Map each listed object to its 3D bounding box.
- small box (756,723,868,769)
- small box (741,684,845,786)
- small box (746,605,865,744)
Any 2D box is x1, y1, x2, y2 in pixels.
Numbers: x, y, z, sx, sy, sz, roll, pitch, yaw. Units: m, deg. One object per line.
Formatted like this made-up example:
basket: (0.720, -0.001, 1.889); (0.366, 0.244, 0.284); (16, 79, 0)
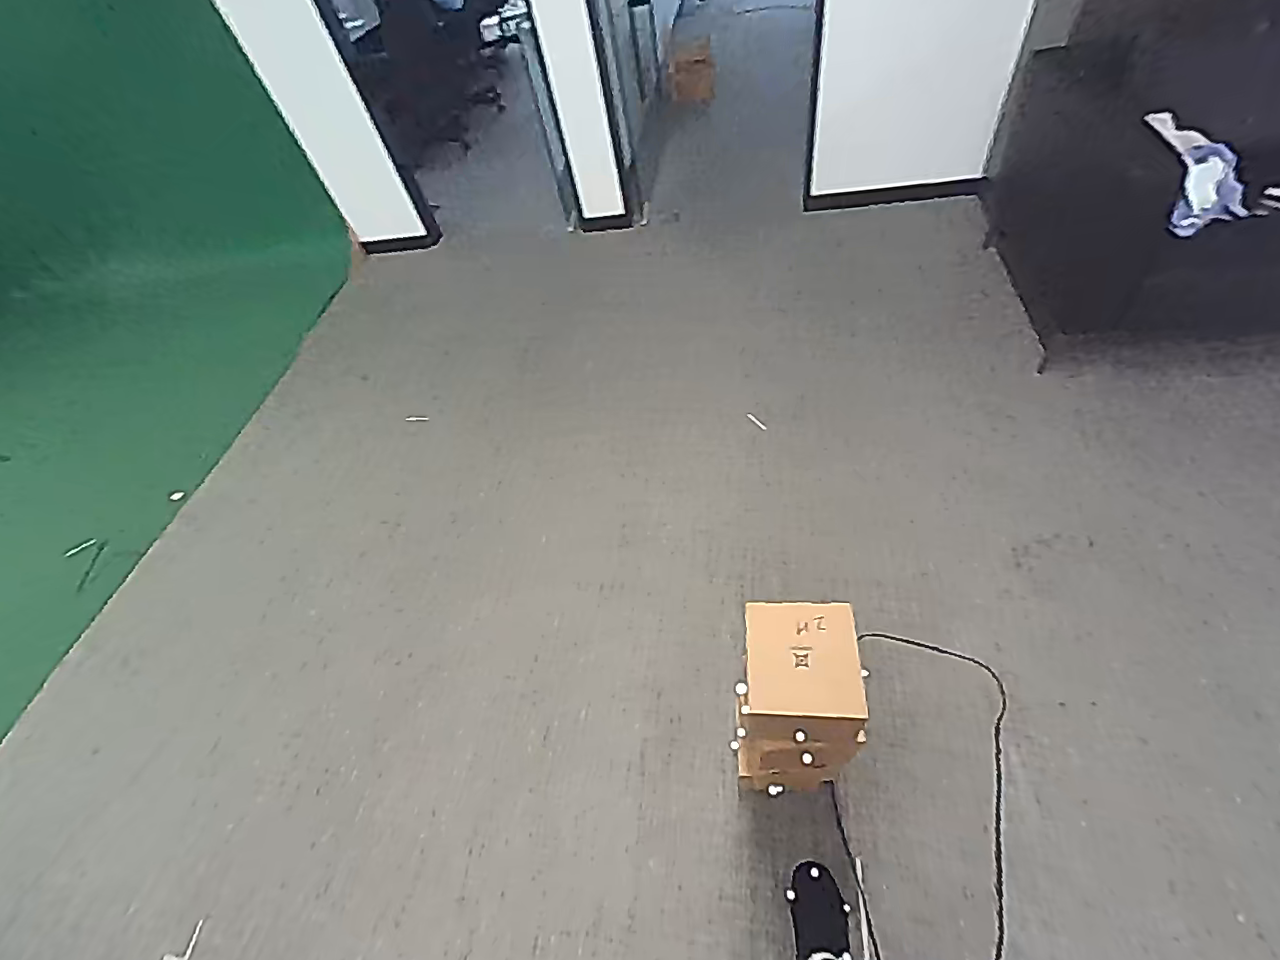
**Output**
small box: (0.299, 0.426, 1.002); (0.179, 0.176, 0.168); (-9, 51, 7)
small box: (0.314, 0.527, 1.130); (0.168, 0.176, 0.179); (-11, 50, 4)
small box: (0.261, 0.320, 0.883); (0.168, 0.176, 0.179); (-2, 53, 12)
